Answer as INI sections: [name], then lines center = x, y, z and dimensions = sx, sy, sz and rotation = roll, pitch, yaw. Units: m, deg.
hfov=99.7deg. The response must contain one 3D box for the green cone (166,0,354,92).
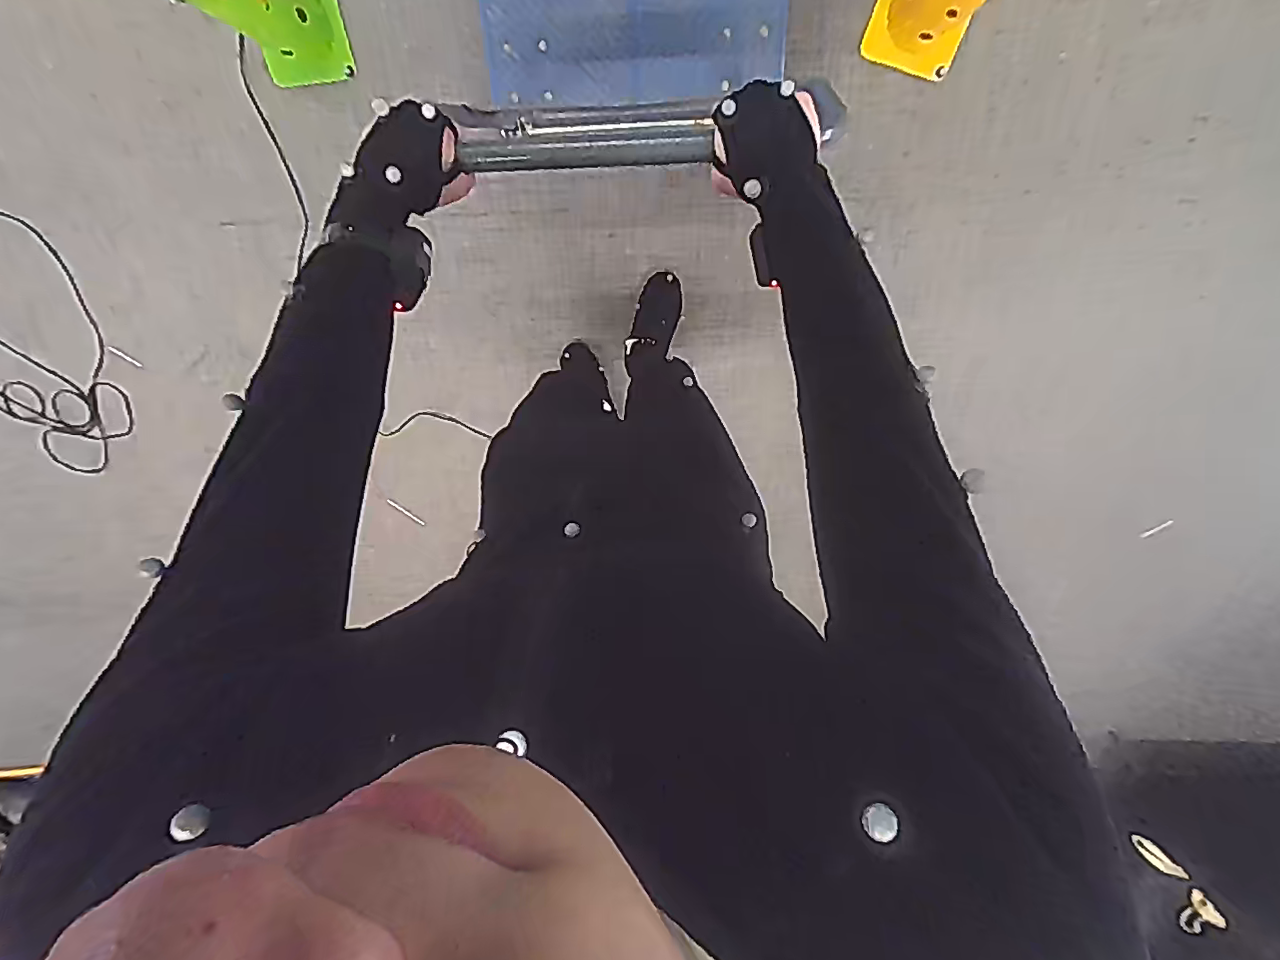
[green cone]
center = -0.757, -0.896, 1.030
dimensions = 0.202, 0.368, 0.200
rotation = -3, 119, 7
